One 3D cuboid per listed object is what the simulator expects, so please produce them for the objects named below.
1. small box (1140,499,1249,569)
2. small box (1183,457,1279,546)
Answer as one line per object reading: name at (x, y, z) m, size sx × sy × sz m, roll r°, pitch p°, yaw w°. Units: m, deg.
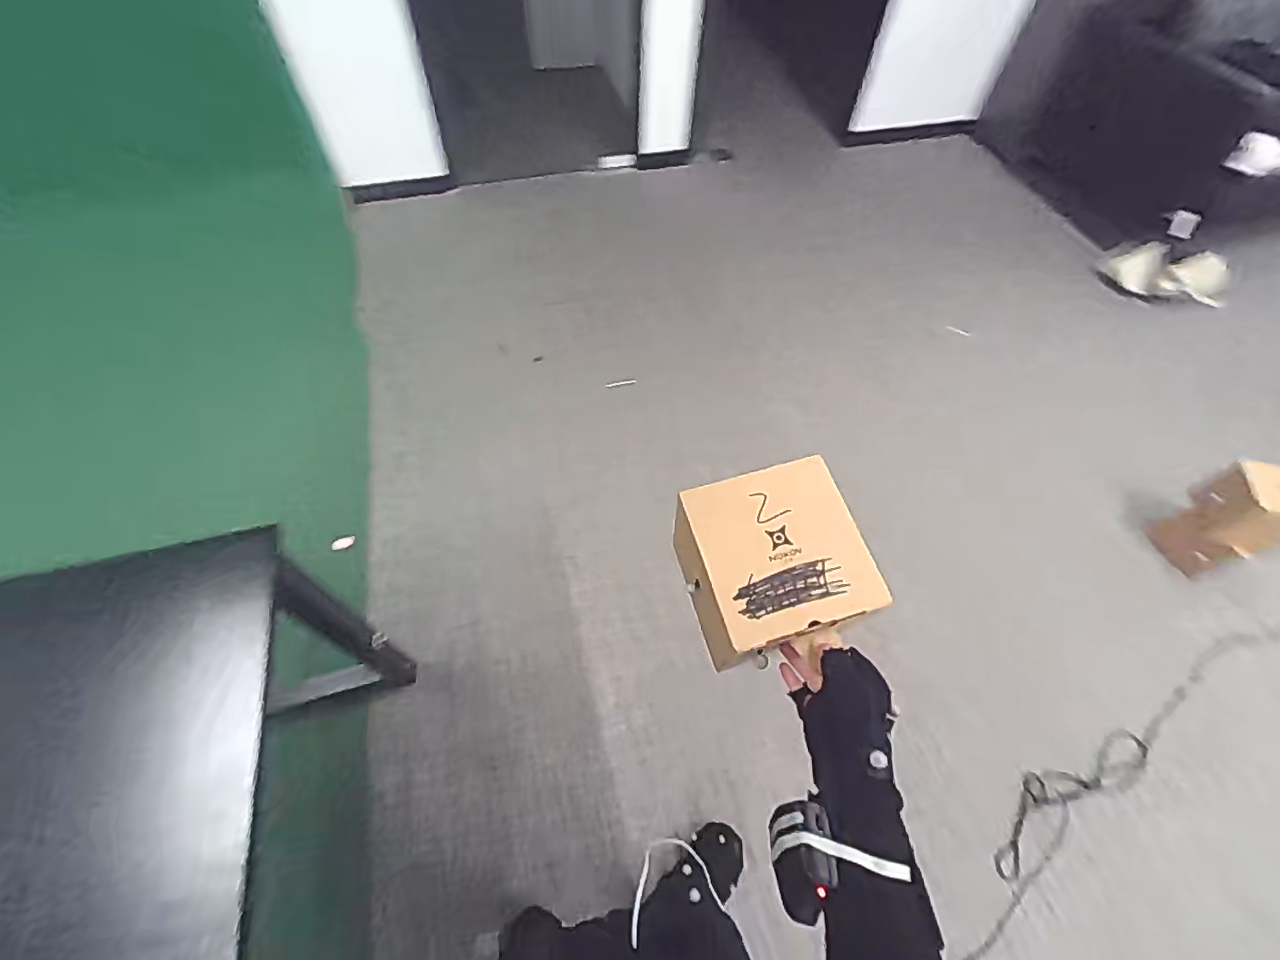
small box at (1.678, 0.148, 1.614) m, size 0.168 × 0.176 × 0.179 m, roll -17°, pitch 58°, yaw -14°
small box at (1.667, 0.065, 1.492) m, size 0.179 × 0.176 × 0.168 m, roll 12°, pitch 57°, yaw 5°
